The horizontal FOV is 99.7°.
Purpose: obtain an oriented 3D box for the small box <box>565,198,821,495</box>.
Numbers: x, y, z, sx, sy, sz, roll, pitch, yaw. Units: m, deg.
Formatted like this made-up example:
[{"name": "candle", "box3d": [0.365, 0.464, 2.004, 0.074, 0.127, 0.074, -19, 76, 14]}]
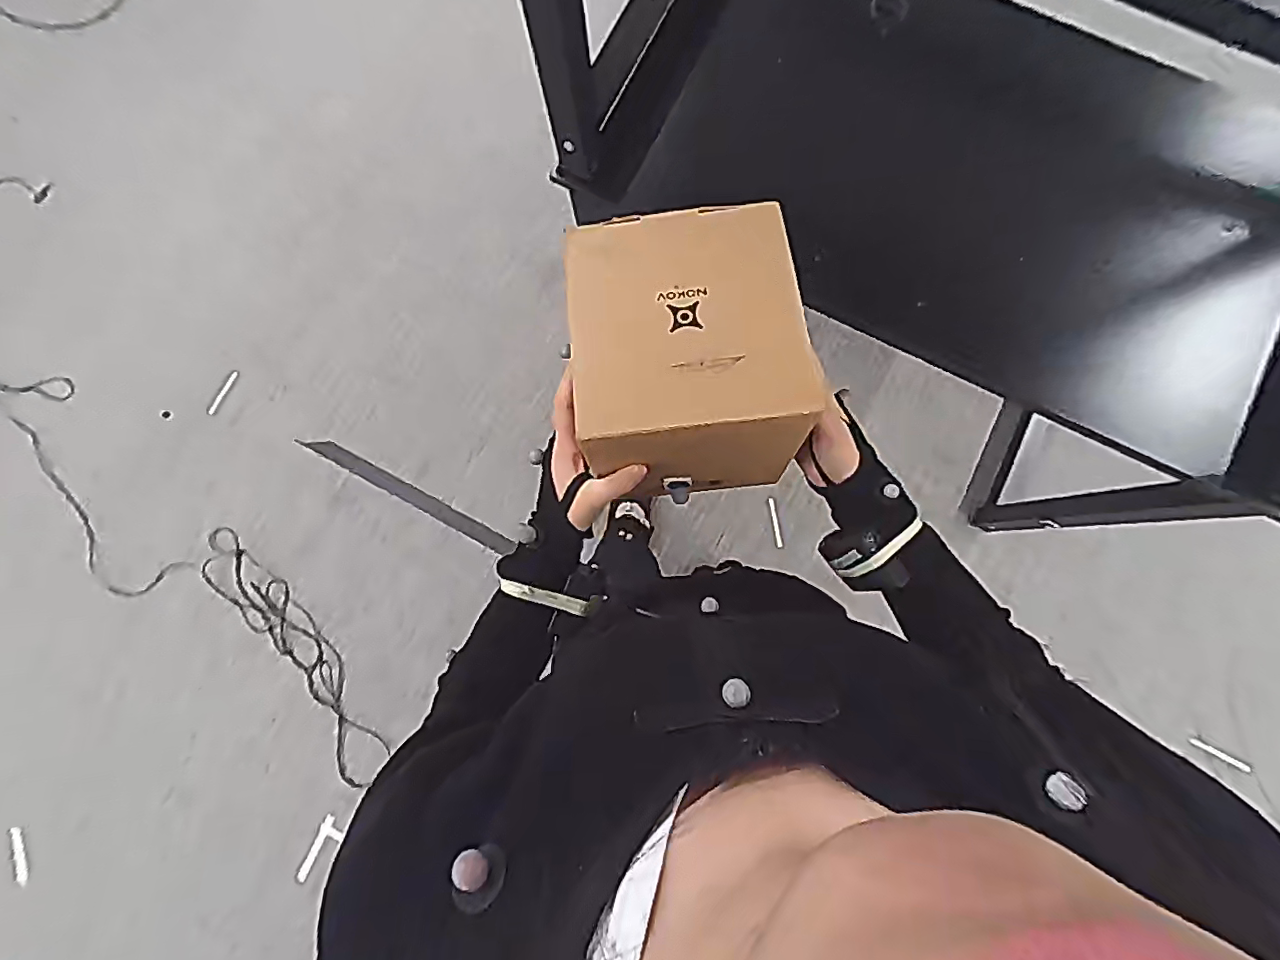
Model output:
[{"name": "small box", "box3d": [0.036, -0.099, 0.461, 0.168, 0.176, 0.179, -7, 74, 2]}]
